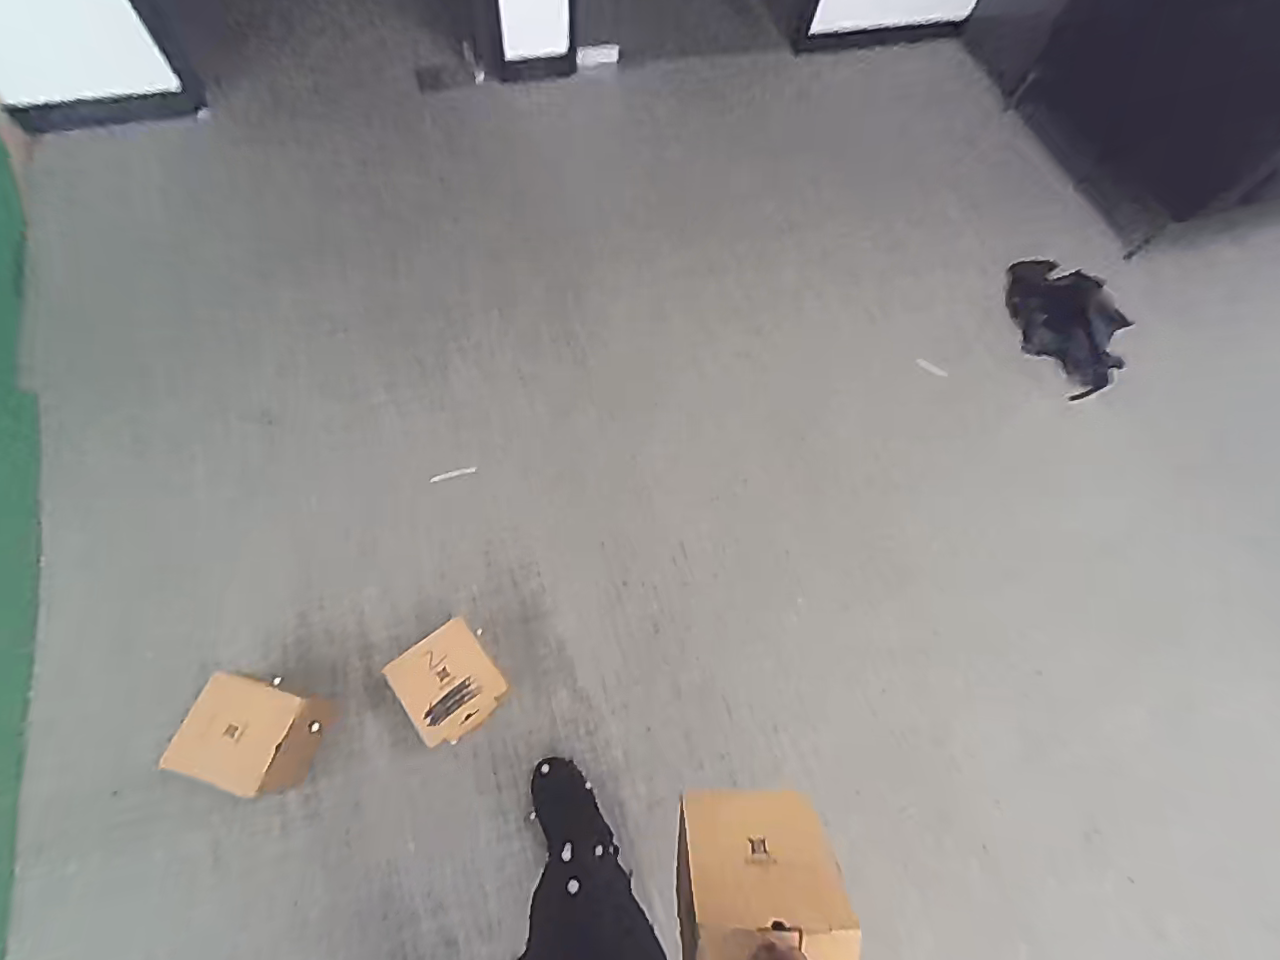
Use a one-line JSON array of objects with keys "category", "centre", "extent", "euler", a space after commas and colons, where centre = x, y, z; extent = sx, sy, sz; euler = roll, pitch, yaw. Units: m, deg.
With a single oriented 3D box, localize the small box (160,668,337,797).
[{"category": "small box", "centre": [-0.710, 0.465, 1.010], "extent": [0.179, 0.176, 0.168], "euler": [18, 65, 2]}]
